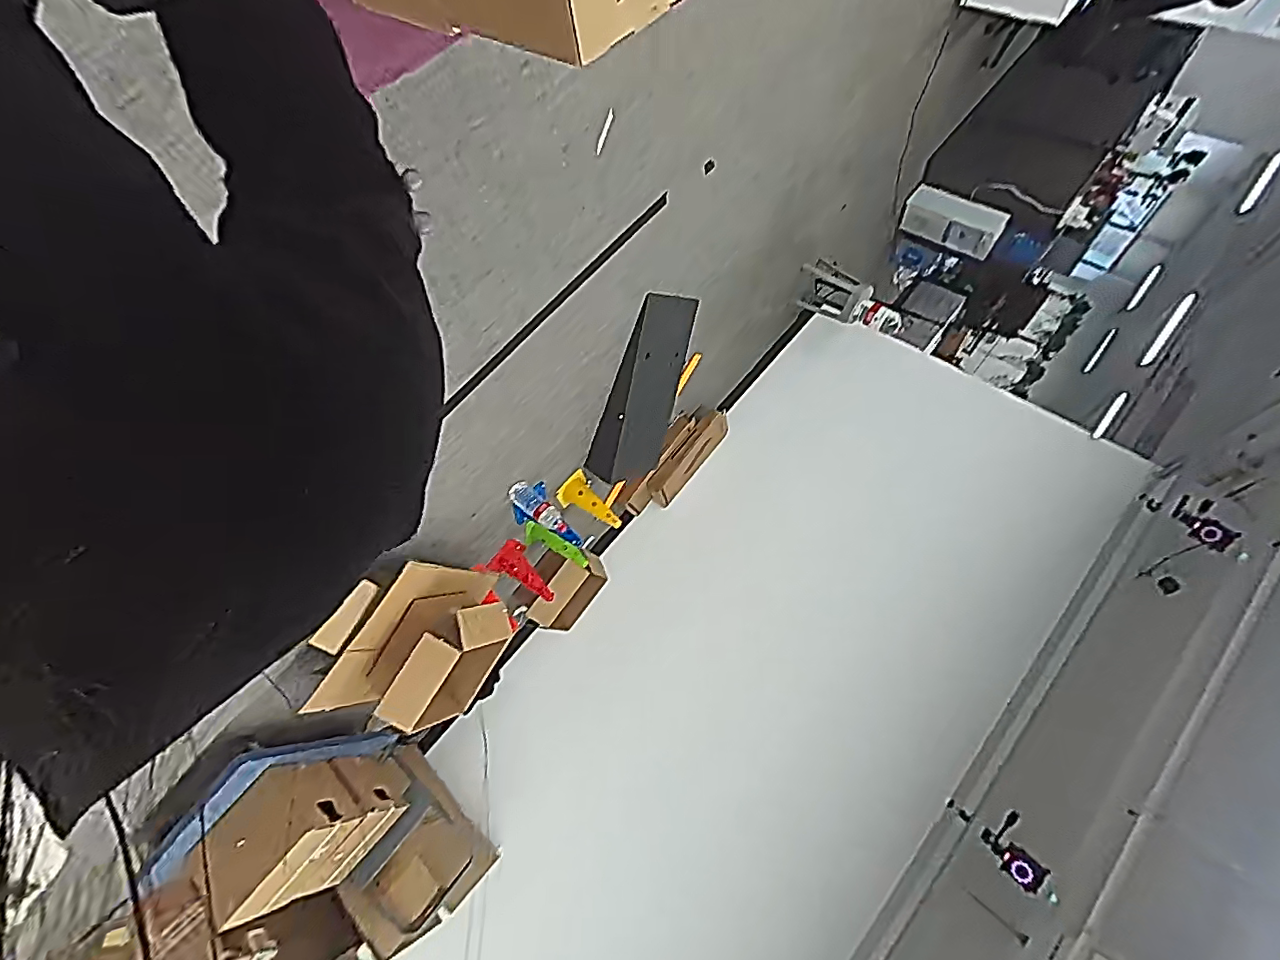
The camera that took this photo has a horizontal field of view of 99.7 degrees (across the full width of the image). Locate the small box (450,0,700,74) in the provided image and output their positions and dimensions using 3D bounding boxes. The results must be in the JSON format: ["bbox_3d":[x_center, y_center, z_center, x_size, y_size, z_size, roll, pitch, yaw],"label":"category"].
[{"bbox_3d":[-0.056,-0.440,0.384,0.168,0.176,0.179,-47,156,-16],"label":"small box"}]
